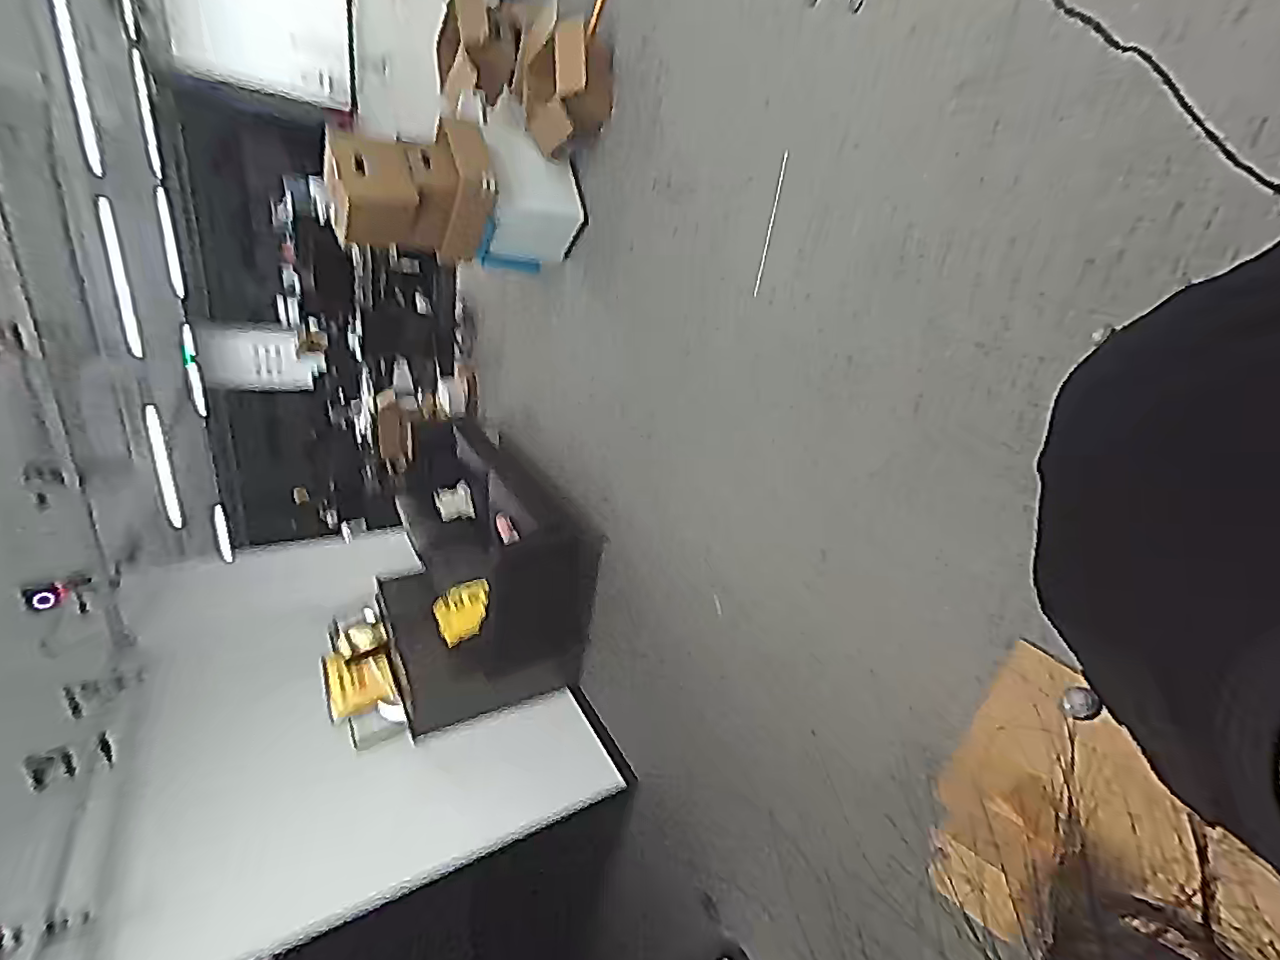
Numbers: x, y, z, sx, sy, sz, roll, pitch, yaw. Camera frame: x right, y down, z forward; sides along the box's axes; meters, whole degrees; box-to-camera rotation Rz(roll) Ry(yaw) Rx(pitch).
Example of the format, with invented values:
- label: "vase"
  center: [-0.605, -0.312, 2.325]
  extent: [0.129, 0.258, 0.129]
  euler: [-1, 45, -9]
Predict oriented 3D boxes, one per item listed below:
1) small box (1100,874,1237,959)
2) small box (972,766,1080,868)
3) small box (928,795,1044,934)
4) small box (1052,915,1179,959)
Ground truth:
- label: "small box"
  center: [1.103, 0.993, 1.147]
  extent: [0.168, 0.176, 0.179]
  euler: [42, 130, 47]
- label: "small box"
  center: [0.947, 0.858, 1.363]
  extent: [0.168, 0.176, 0.179]
  euler: [58, 140, 34]
- label: "small box"
  center: [0.813, 0.887, 1.272]
  extent: [0.179, 0.176, 0.168]
  euler: [15, 109, 55]
- label: "small box"
  center: [0.965, 1.007, 1.059]
  extent: [0.179, 0.176, 0.168]
  euler: [59, 141, 35]
